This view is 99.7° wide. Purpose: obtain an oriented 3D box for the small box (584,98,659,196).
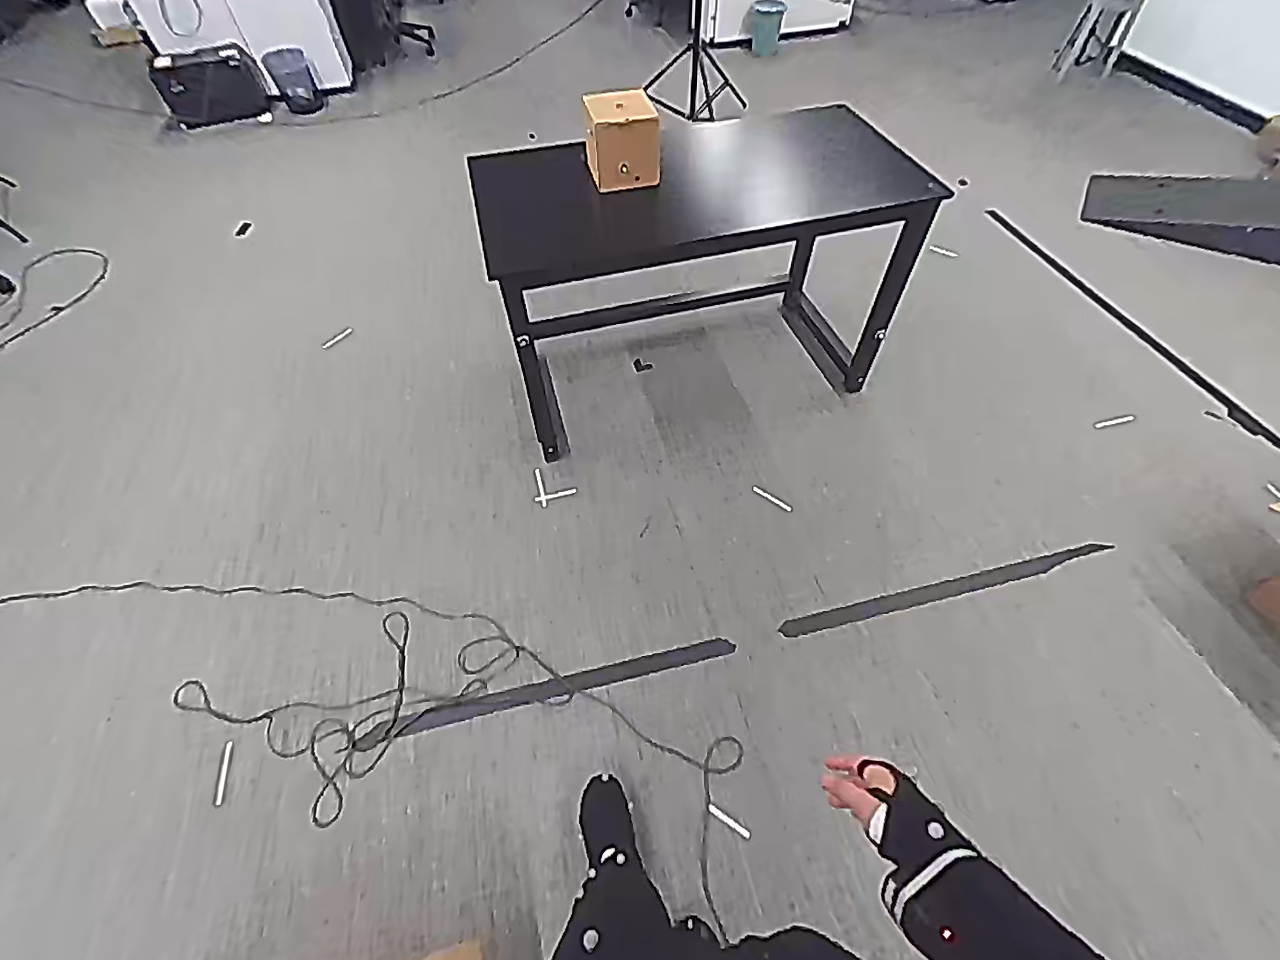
[{"bbox_3d":[-0.051,-0.891,1.449,0.168,0.176,0.179,-12,55,-7],"label":"small box"}]
